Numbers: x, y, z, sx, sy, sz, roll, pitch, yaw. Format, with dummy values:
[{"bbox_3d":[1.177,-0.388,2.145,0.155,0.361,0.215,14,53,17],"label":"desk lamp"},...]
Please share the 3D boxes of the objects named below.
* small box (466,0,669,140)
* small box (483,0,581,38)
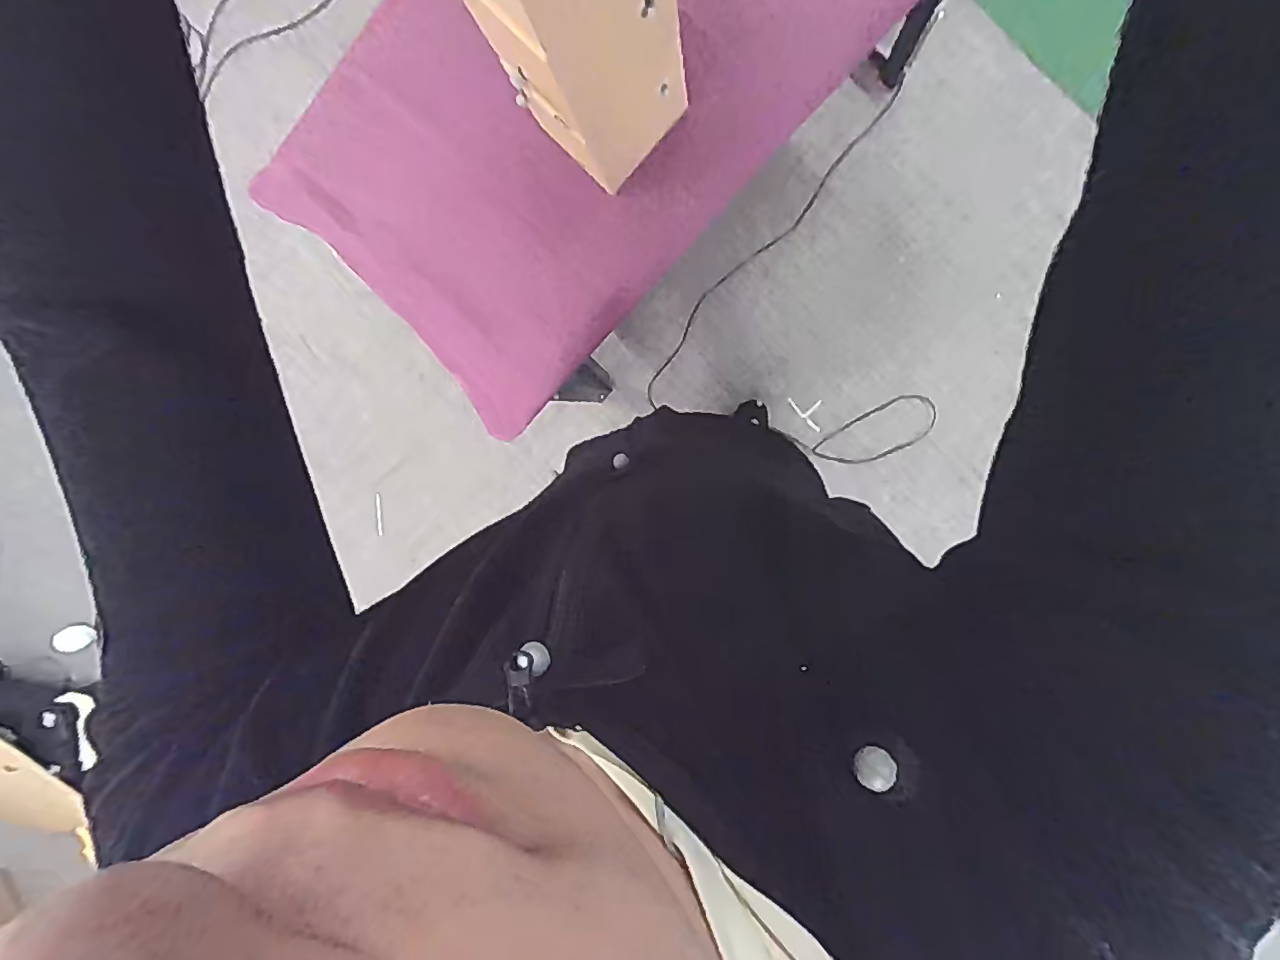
[{"bbox_3d":[-0.081,-0.541,0.608,0.168,0.176,0.179,45,101,2],"label":"small box"},{"bbox_3d":[-0.111,-0.528,0.449,0.179,0.176,0.168,44,100,2],"label":"small box"}]
